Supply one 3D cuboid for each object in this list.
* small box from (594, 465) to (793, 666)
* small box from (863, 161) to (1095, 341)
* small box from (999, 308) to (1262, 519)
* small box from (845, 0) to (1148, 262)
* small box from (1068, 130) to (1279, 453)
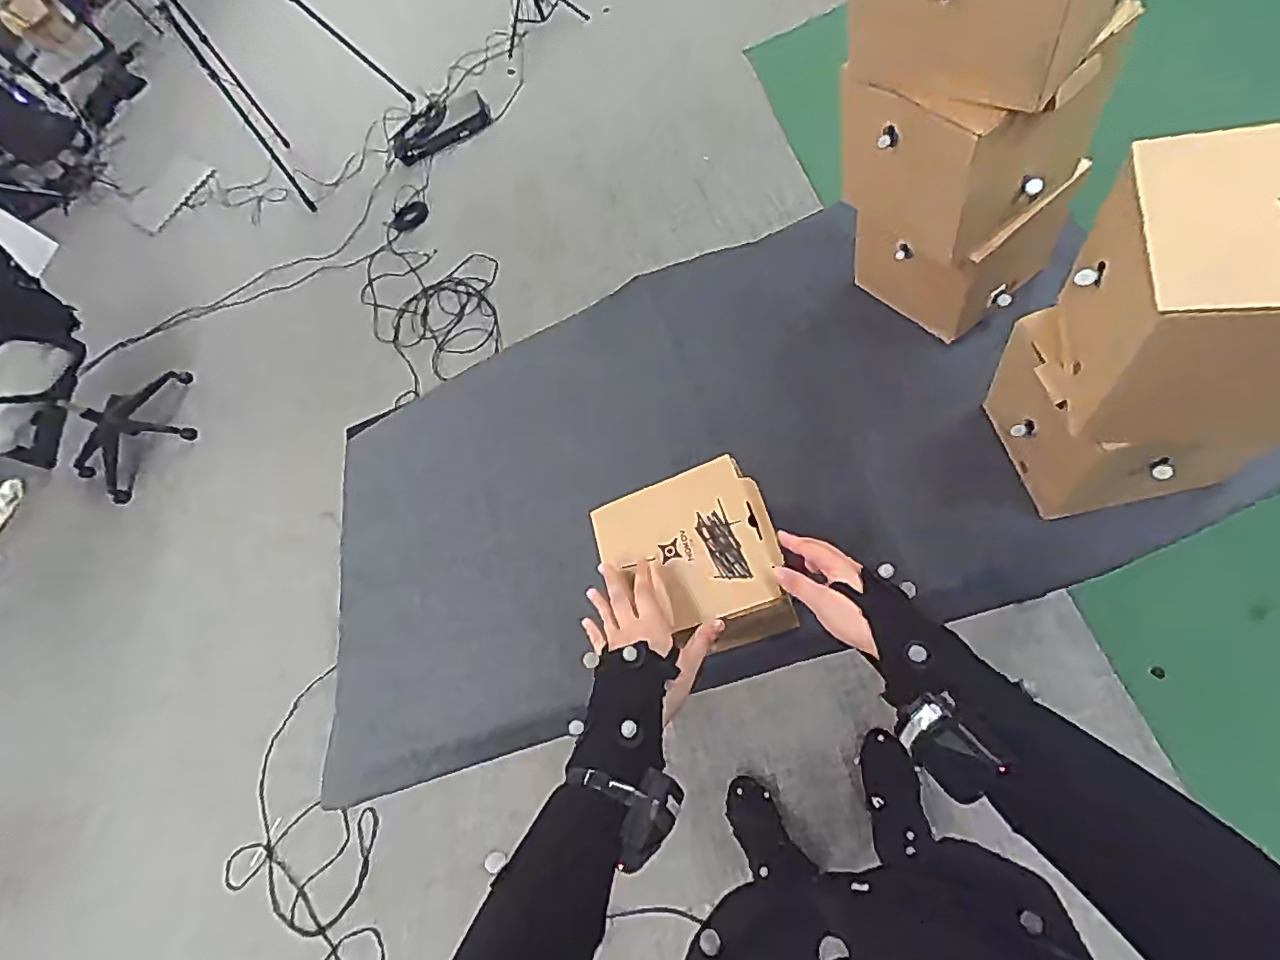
[{"bbox_3d":[0.070,0.110,0.634,0.179,0.176,0.168,-22,62,13],"label":"small box"},{"bbox_3d":[0.409,-0.314,0.695,0.168,0.176,0.179,-41,62,2],"label":"small box"},{"bbox_3d":[0.499,-0.075,0.555,0.179,0.176,0.168,-16,60,14],"label":"small box"},{"bbox_3d":[0.334,-0.365,0.555,0.168,0.176,0.179,-38,61,5],"label":"small box"},{"bbox_3d":[0.453,-0.131,0.408,0.179,0.176,0.168,5,67,22],"label":"small box"}]
